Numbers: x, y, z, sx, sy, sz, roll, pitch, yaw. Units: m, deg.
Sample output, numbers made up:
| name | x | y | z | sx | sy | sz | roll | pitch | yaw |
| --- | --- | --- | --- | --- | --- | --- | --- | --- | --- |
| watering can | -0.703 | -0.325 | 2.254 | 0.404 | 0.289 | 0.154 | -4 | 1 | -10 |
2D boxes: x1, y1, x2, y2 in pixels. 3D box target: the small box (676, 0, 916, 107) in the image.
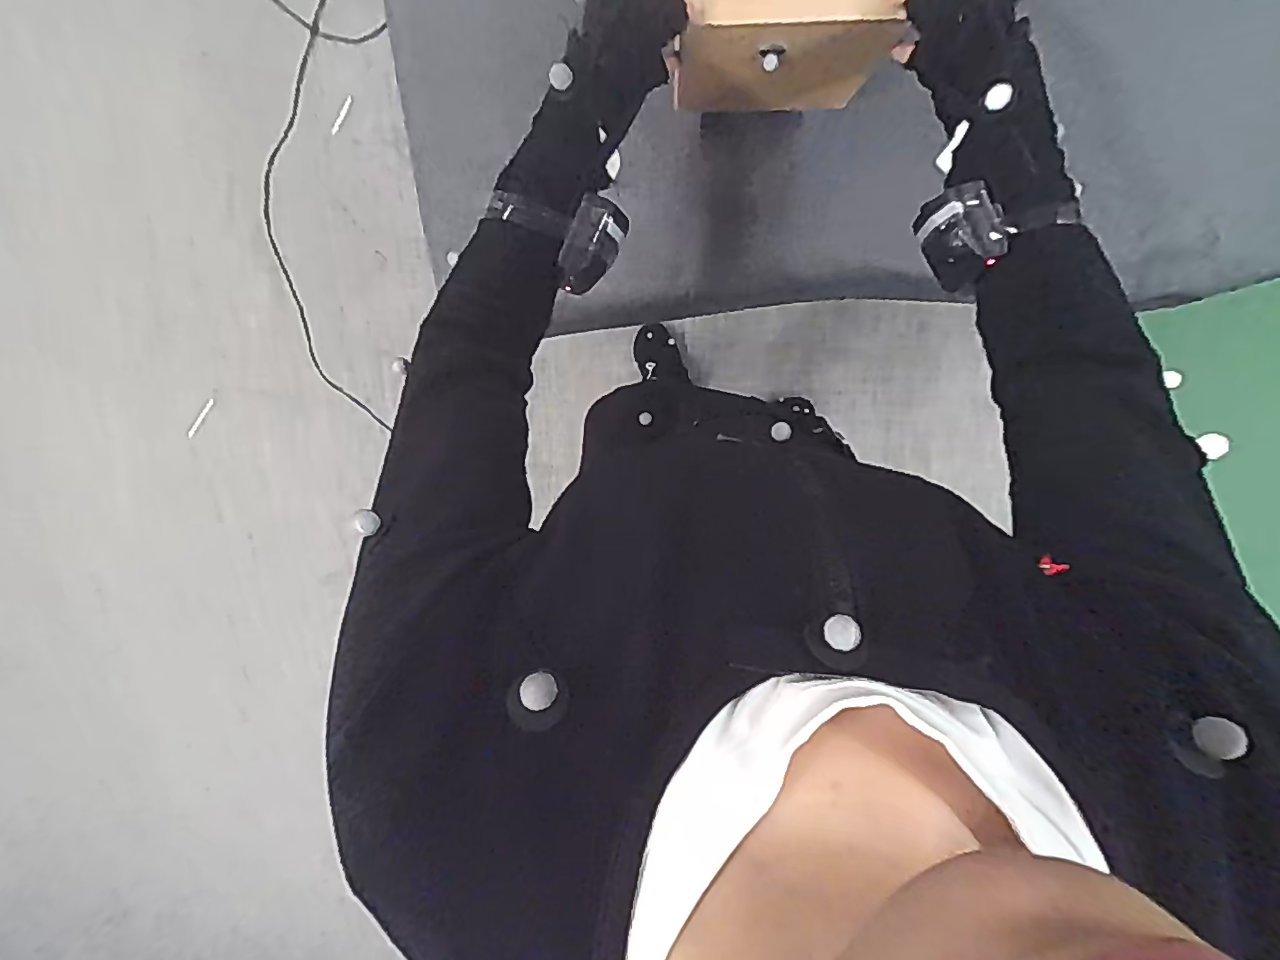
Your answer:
| name | x | y | z | sx | sy | sz | roll | pitch | yaw |
| --- | --- | --- | --- | --- | --- | --- | --- | --- | --- |
| small box | 0.120 | -0.443 | 0.462 | 0.179 | 0.176 | 0.168 | 0 | 106 | 1 |
